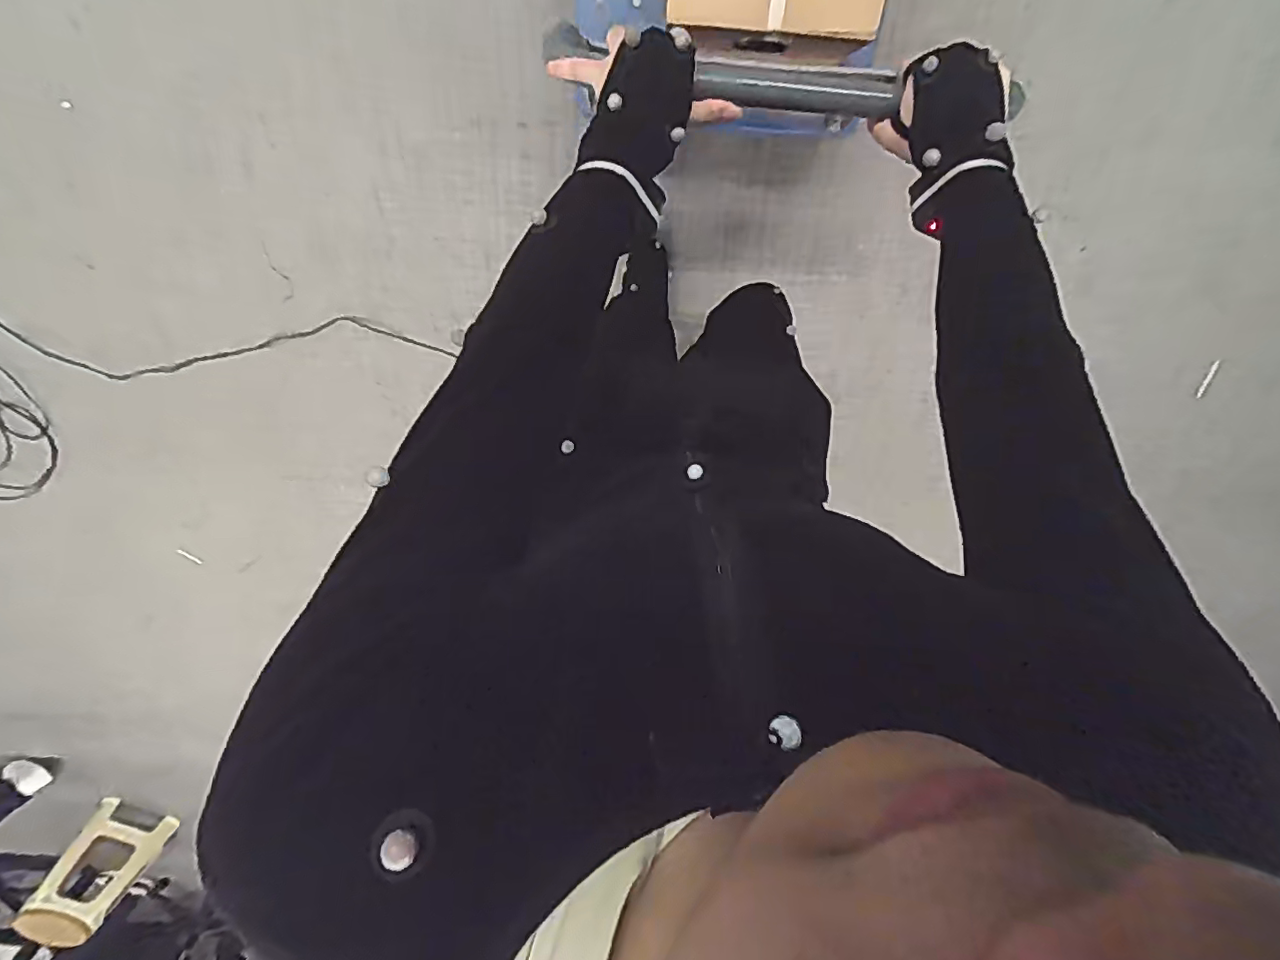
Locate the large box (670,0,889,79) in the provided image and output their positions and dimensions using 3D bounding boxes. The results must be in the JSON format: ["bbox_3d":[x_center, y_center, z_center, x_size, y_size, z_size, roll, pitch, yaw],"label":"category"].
[{"bbox_3d":[0.213,-0.894,0.829,0.320,0.320,0.408,4,117,-2],"label":"large box"}]
